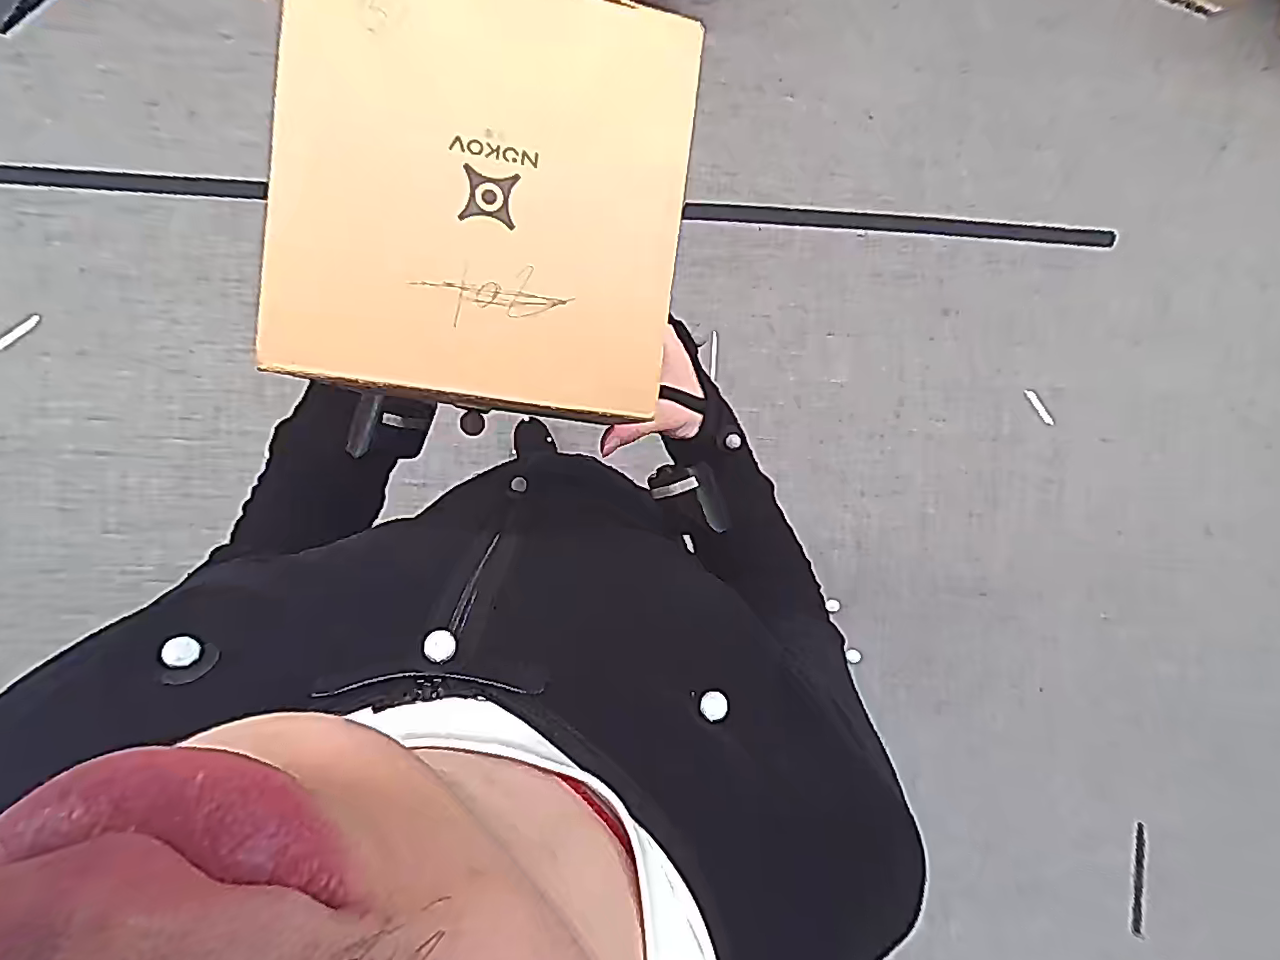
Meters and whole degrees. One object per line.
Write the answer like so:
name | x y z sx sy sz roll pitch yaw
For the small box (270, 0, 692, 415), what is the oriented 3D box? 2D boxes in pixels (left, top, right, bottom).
small box | -0.080 -0.137 0.315 0.168 0.176 0.179 6 95 -11
